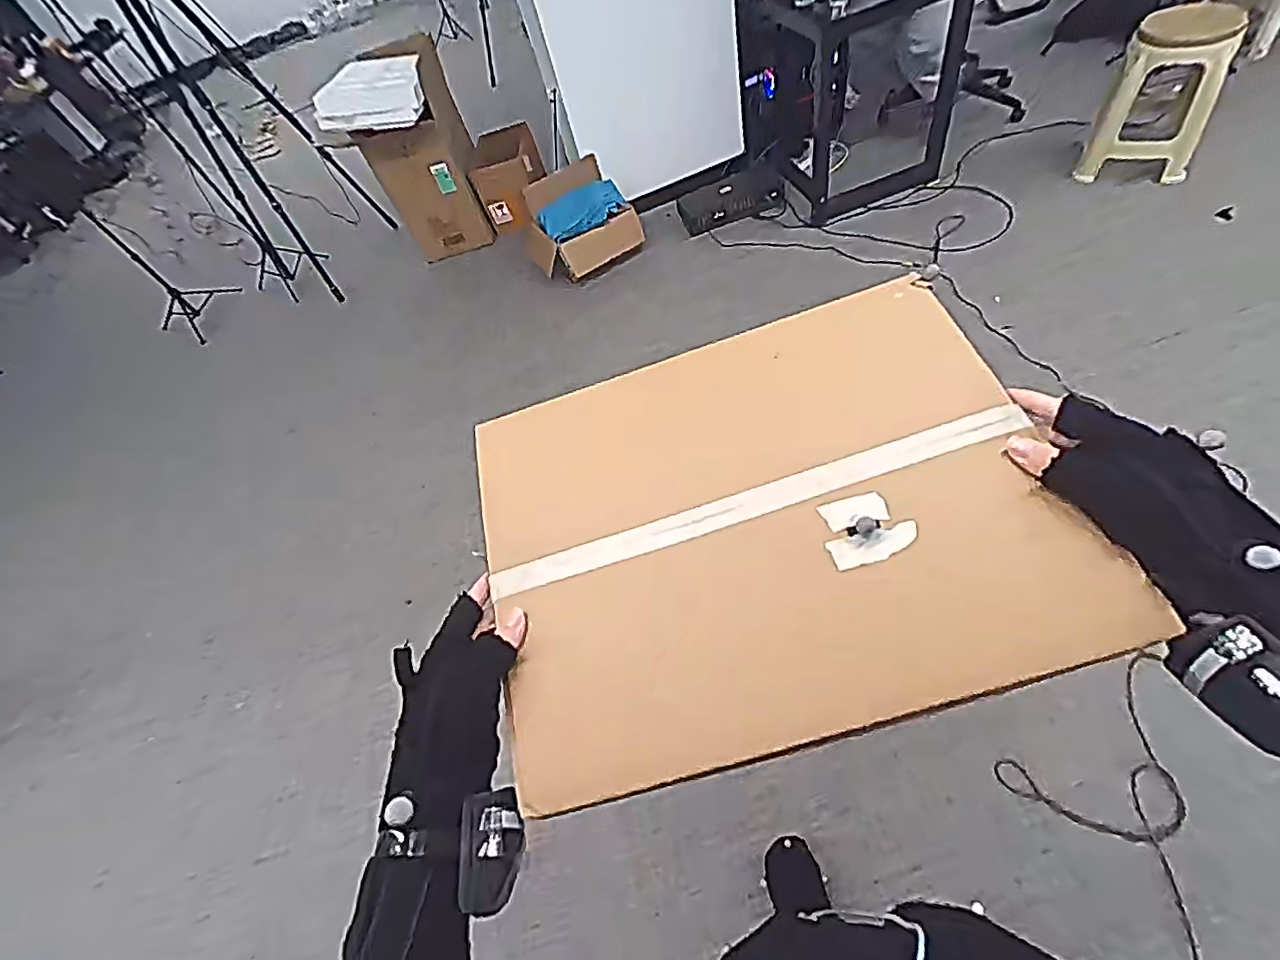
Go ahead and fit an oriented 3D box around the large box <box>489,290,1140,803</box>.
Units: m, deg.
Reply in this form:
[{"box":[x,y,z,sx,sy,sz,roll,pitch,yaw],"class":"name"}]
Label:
[{"box":[0.114,0.089,0.542,0.408,0.320,0.320,-18,61,4],"class":"large box"}]
